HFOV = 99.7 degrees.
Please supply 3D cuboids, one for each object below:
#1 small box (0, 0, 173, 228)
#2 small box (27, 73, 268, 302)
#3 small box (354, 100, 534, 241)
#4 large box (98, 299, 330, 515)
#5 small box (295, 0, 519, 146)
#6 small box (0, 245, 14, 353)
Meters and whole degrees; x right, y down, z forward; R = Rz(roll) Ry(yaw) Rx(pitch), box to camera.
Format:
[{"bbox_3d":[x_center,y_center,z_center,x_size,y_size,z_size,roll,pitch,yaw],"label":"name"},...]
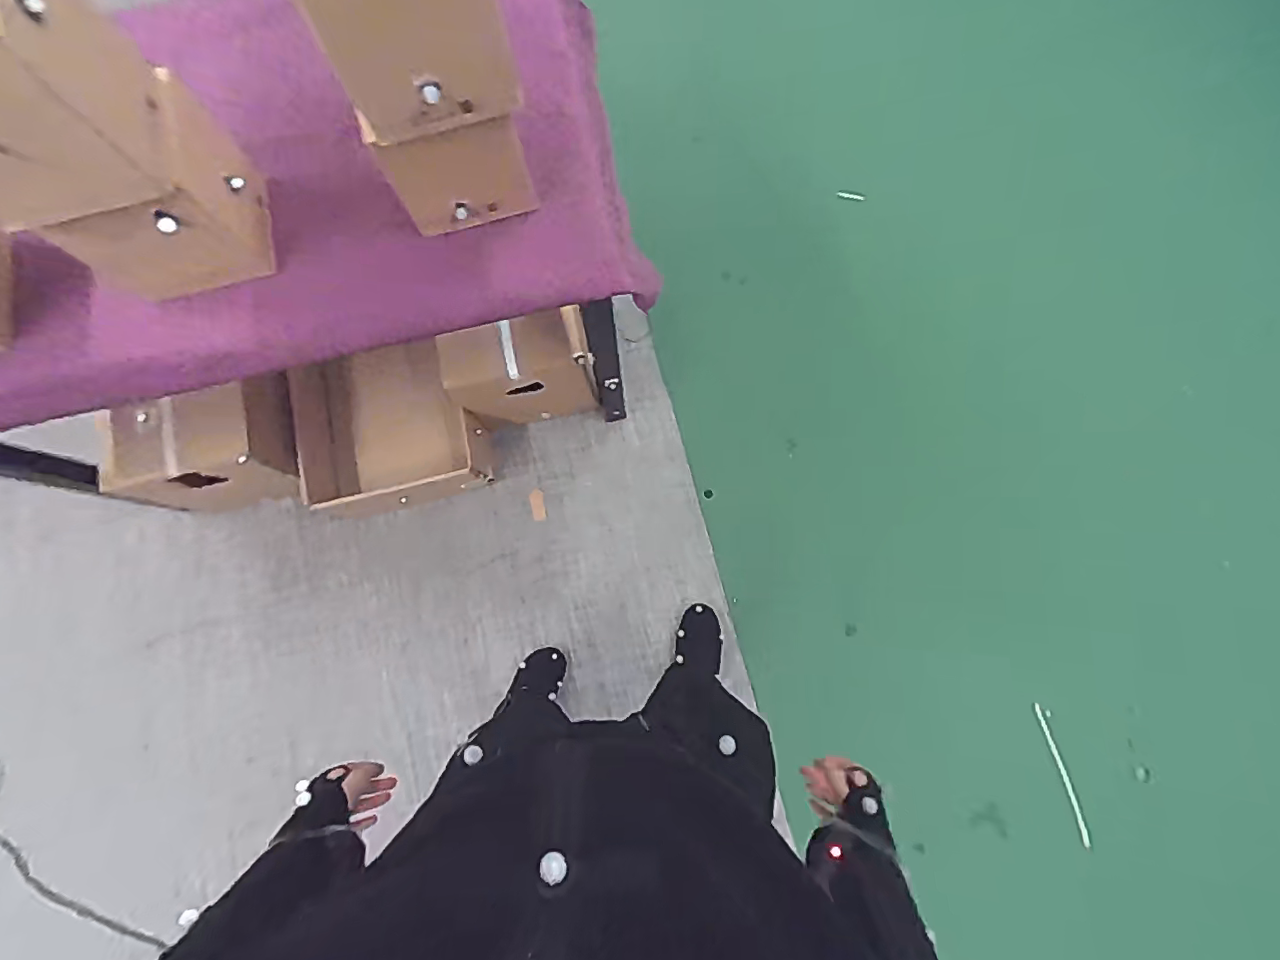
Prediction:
[{"bbox_3d":[-0.604,-0.374,0.515,0.179,0.176,0.168,-16,77,-3],"label":"small box"},{"bbox_3d":[-0.602,-0.354,0.679,0.179,0.176,0.168,-15,76,-2],"label":"small box"},{"bbox_3d":[-0.249,-0.450,0.699,0.168,0.176,0.179,-16,76,-1],"label":"small box"},{"bbox_3d":[-1.011,-0.159,1.319,0.320,0.320,0.408,-14,79,-3],"label":"large box"},{"bbox_3d":[-0.234,-0.482,0.537,0.168,0.176,0.179,-16,77,-1],"label":"small box"},{"bbox_3d":[-0.940,-0.256,0.662,0.168,0.176,0.179,-13,77,-3],"label":"small box"}]
